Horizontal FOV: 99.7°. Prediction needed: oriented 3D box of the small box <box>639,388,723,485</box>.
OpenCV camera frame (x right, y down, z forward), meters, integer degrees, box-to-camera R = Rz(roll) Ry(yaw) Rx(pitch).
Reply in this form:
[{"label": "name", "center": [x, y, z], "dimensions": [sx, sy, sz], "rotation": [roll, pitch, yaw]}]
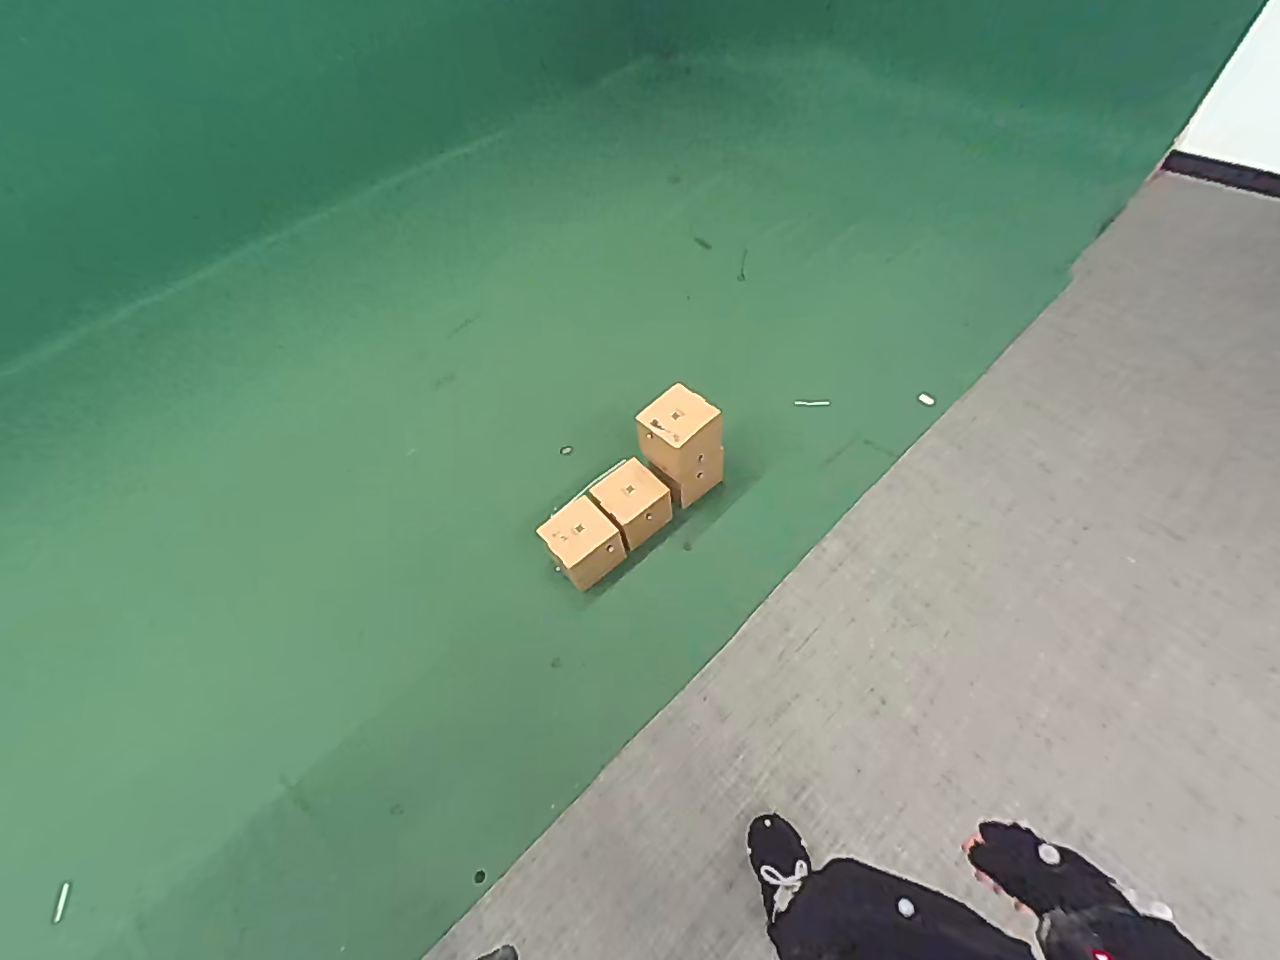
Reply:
[{"label": "small box", "center": [0.117, -0.122, 1.546], "dimensions": [0.179, 0.176, 0.168], "rotation": [-39, 59, -19]}]
